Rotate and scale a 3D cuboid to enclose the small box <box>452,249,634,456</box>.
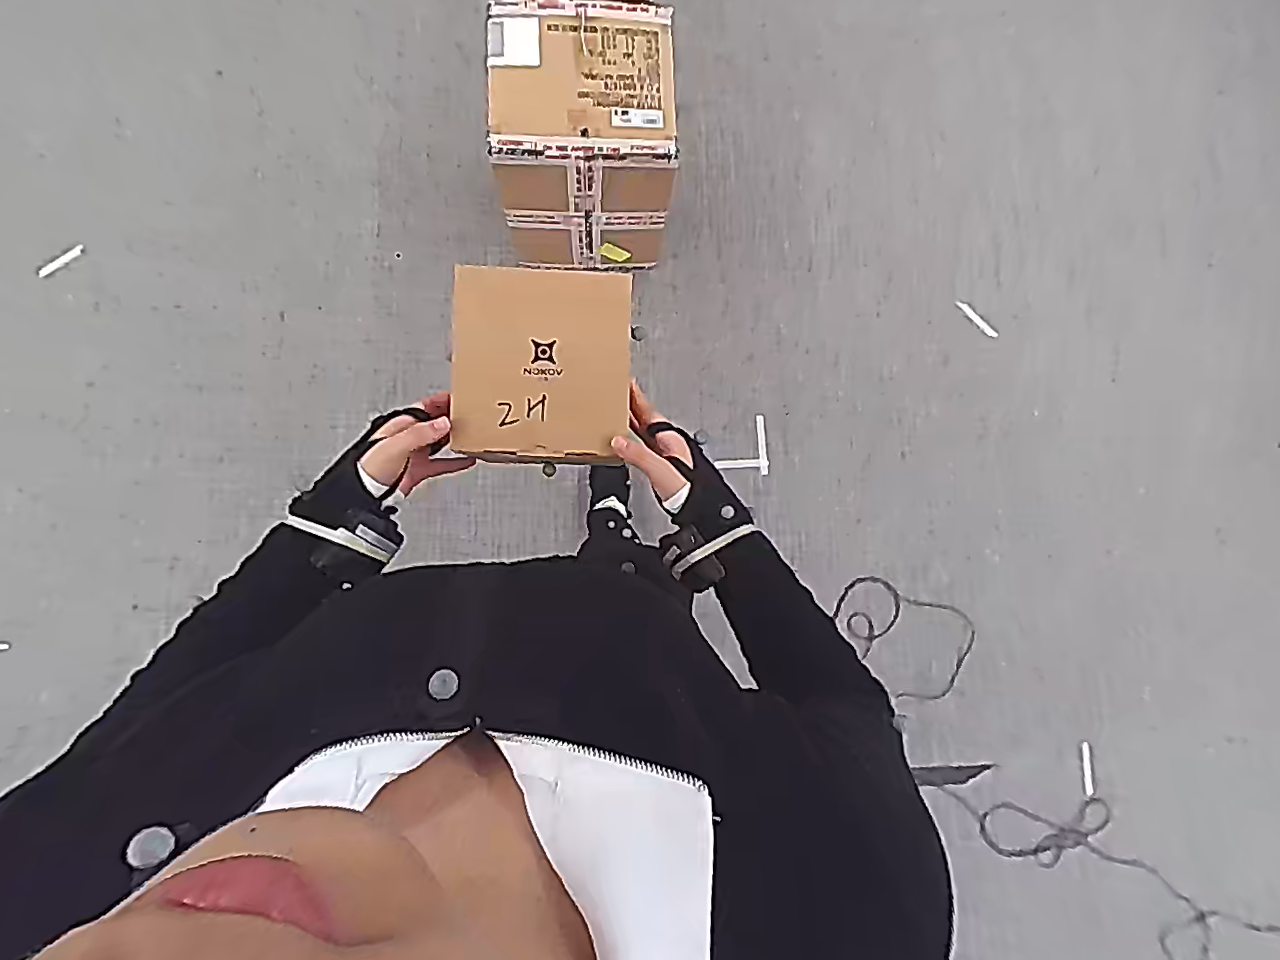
[{"bbox_3d":[-0.097,-0.123,0.586,0.168,0.176,0.179,1,88,-5],"label":"small box"}]
